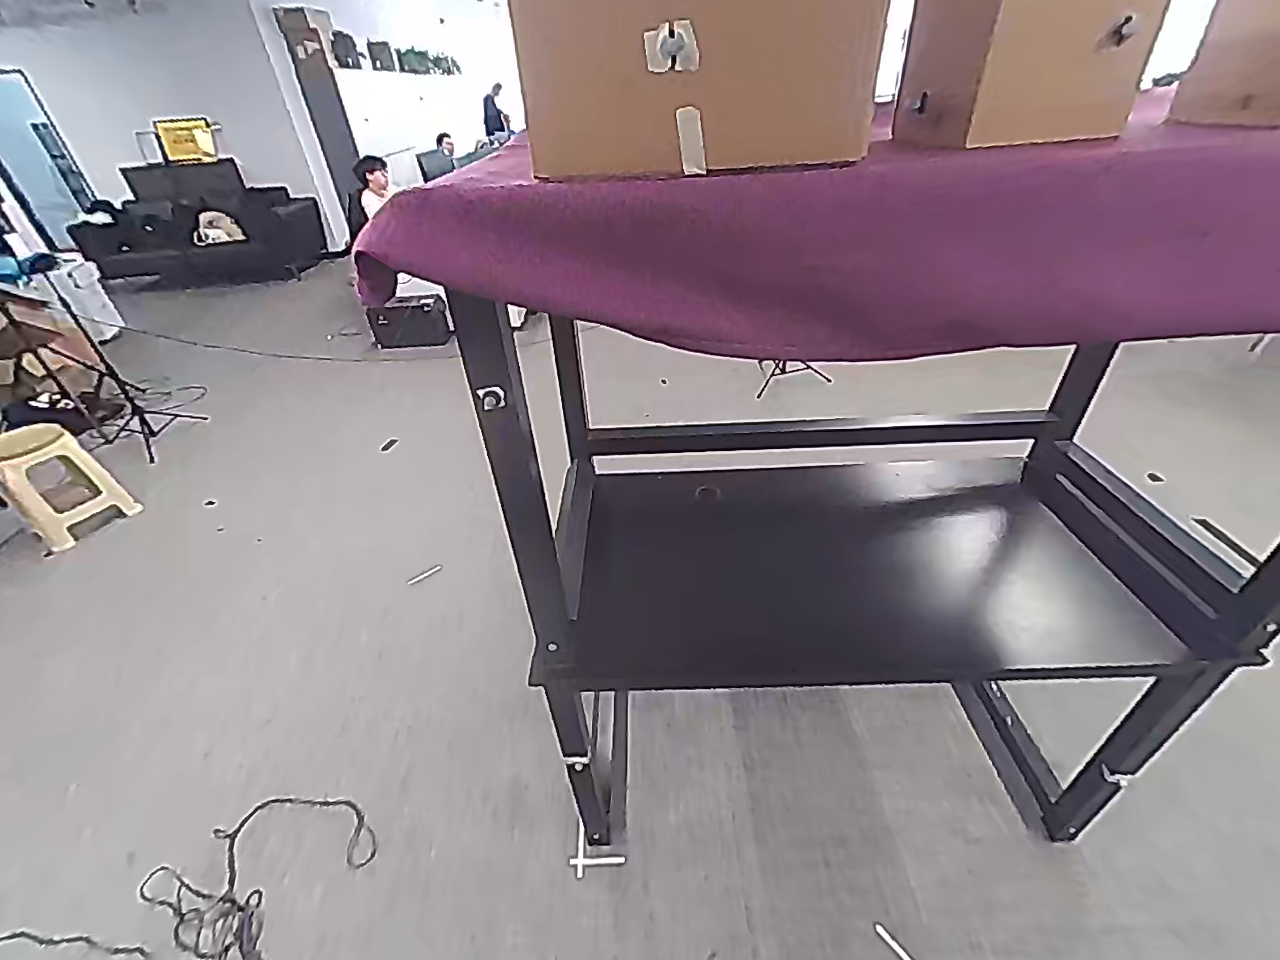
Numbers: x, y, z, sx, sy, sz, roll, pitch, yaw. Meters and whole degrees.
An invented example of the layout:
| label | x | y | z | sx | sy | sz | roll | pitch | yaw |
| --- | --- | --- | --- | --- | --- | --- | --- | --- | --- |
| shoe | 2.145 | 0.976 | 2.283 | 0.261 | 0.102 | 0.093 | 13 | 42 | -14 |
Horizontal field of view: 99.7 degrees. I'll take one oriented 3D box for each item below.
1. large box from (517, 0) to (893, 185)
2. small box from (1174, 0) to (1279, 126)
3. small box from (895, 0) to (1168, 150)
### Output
| label | x | y | z | sx | sy | sz | roll | pitch | yaw |
| --- | --- | --- | --- | --- | --- | --- | --- | --- | --- |
| large box | 0.053 | -0.516 | 0.572 | 0.320 | 0.320 | 0.408 | -1 | 35 | 4 |
| small box | 0.729 | -0.472 | 0.553 | 0.179 | 0.176 | 0.168 | -2 | 35 | 2 |
| small box | 0.406 | -0.465 | 0.580 | 0.179 | 0.176 | 0.168 | -6 | 35 | -2 |
